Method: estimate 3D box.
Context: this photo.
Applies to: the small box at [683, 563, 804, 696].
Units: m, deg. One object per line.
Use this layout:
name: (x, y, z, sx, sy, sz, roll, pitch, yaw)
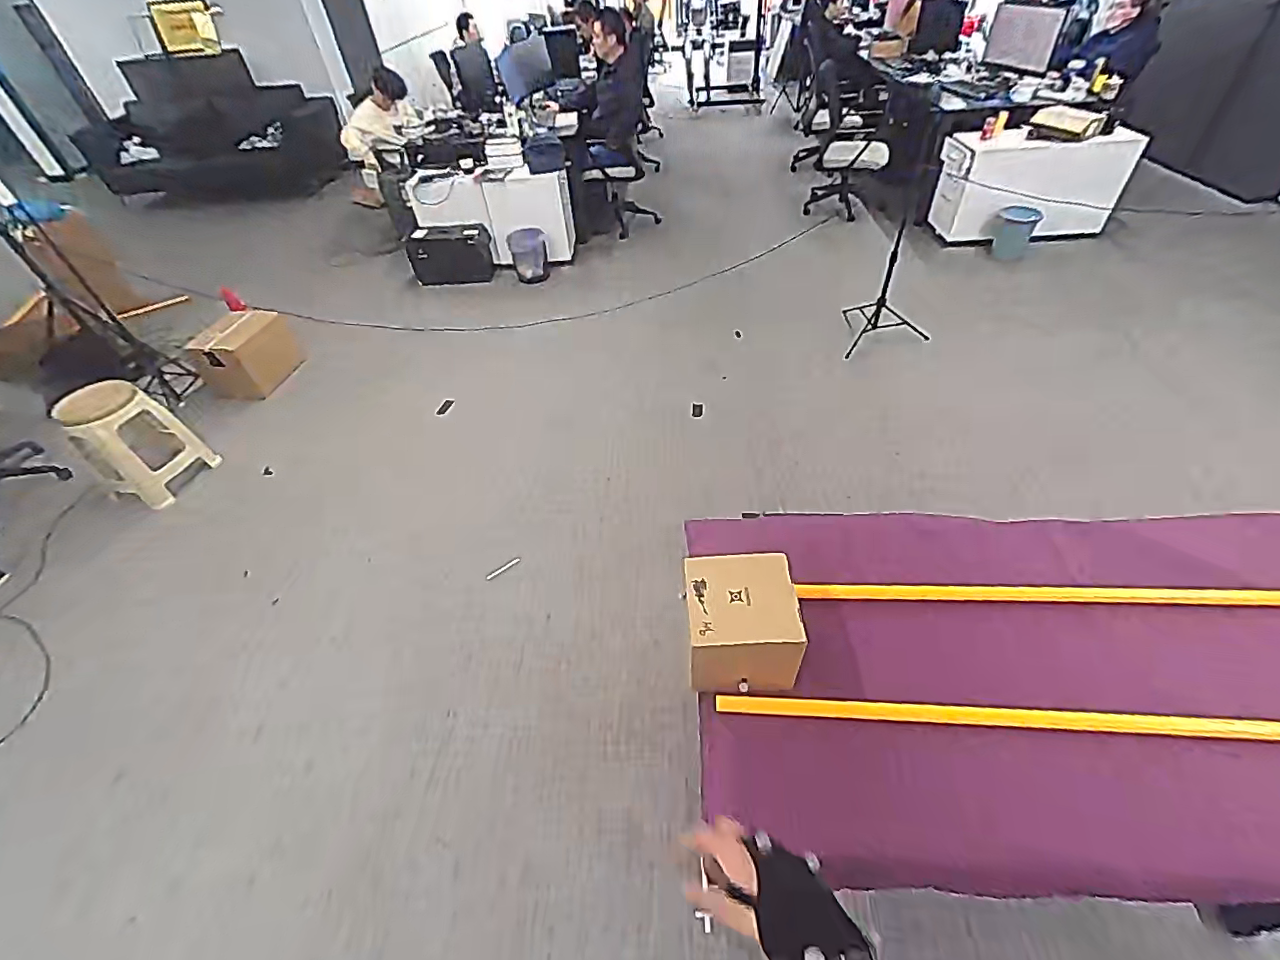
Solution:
small box: (0.166, 0.258, 0.930, 0.179, 0.176, 0.168, -2, 46, 2)
